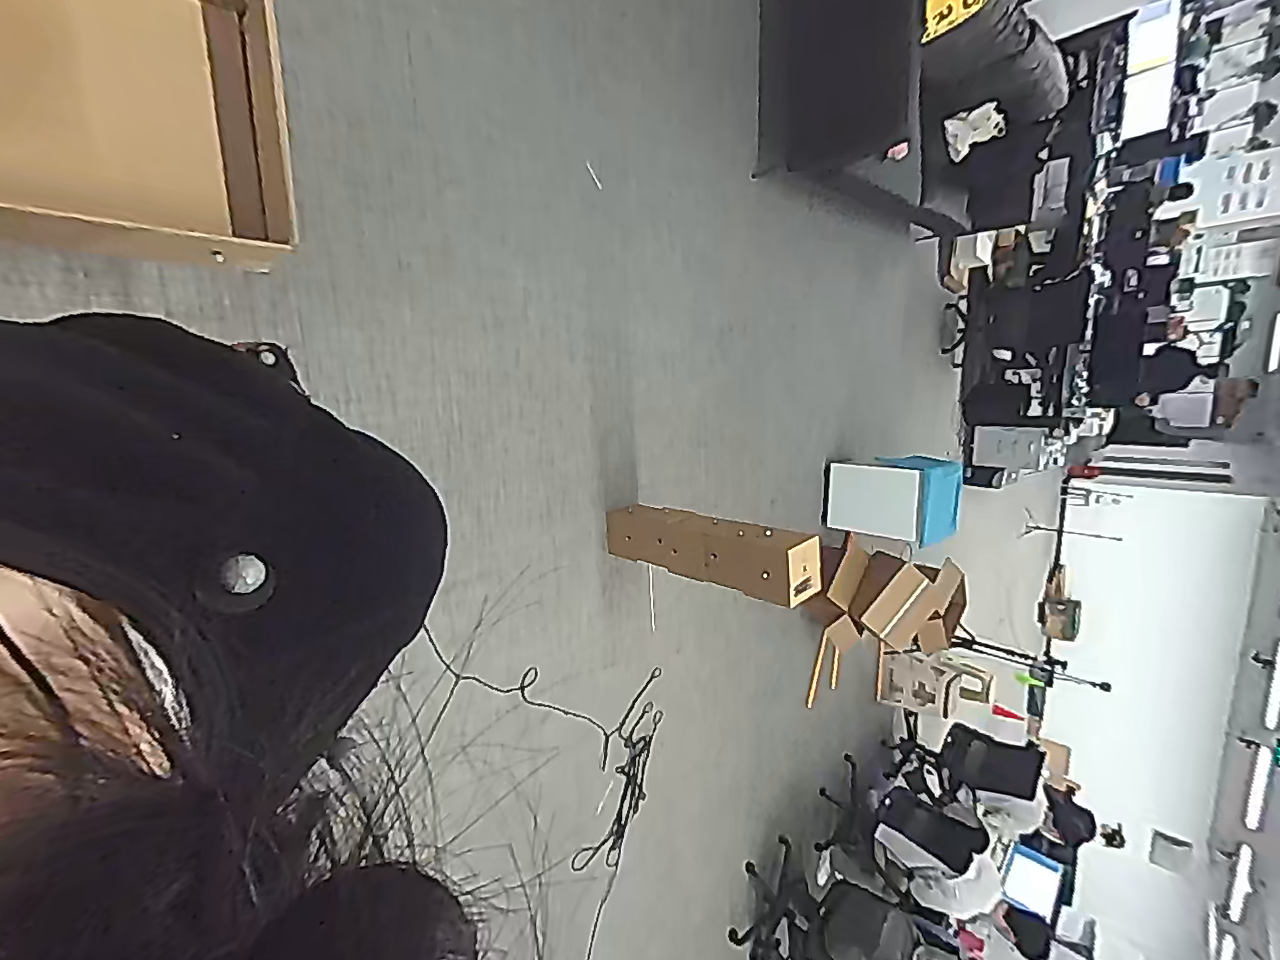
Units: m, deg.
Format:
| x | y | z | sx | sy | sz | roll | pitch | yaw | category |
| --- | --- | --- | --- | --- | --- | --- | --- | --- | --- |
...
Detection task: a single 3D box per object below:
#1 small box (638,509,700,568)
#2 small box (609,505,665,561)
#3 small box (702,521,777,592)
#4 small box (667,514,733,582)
| x | y | z | sx | sy | sz | roll | pitch | yaw | category |
| --- | --- | --- | --- | --- | --- | --- | --- | --- | --- |
| 0.106 | 0.204 | 1.974 | 0.168 | 0.176 | 0.179 | -12 | 103 | -42 | small box |
| -0.008 | 0.199 | 2.093 | 0.168 | 0.176 | 0.179 | -12 | 104 | -43 | small box |
| 0.318 | 0.237 | 1.729 | 0.179 | 0.176 | 0.168 | -14 | 105 | -41 | small box |
| 0.208 | 0.227 | 1.848 | 0.168 | 0.176 | 0.179 | -15 | 106 | -42 | small box |
